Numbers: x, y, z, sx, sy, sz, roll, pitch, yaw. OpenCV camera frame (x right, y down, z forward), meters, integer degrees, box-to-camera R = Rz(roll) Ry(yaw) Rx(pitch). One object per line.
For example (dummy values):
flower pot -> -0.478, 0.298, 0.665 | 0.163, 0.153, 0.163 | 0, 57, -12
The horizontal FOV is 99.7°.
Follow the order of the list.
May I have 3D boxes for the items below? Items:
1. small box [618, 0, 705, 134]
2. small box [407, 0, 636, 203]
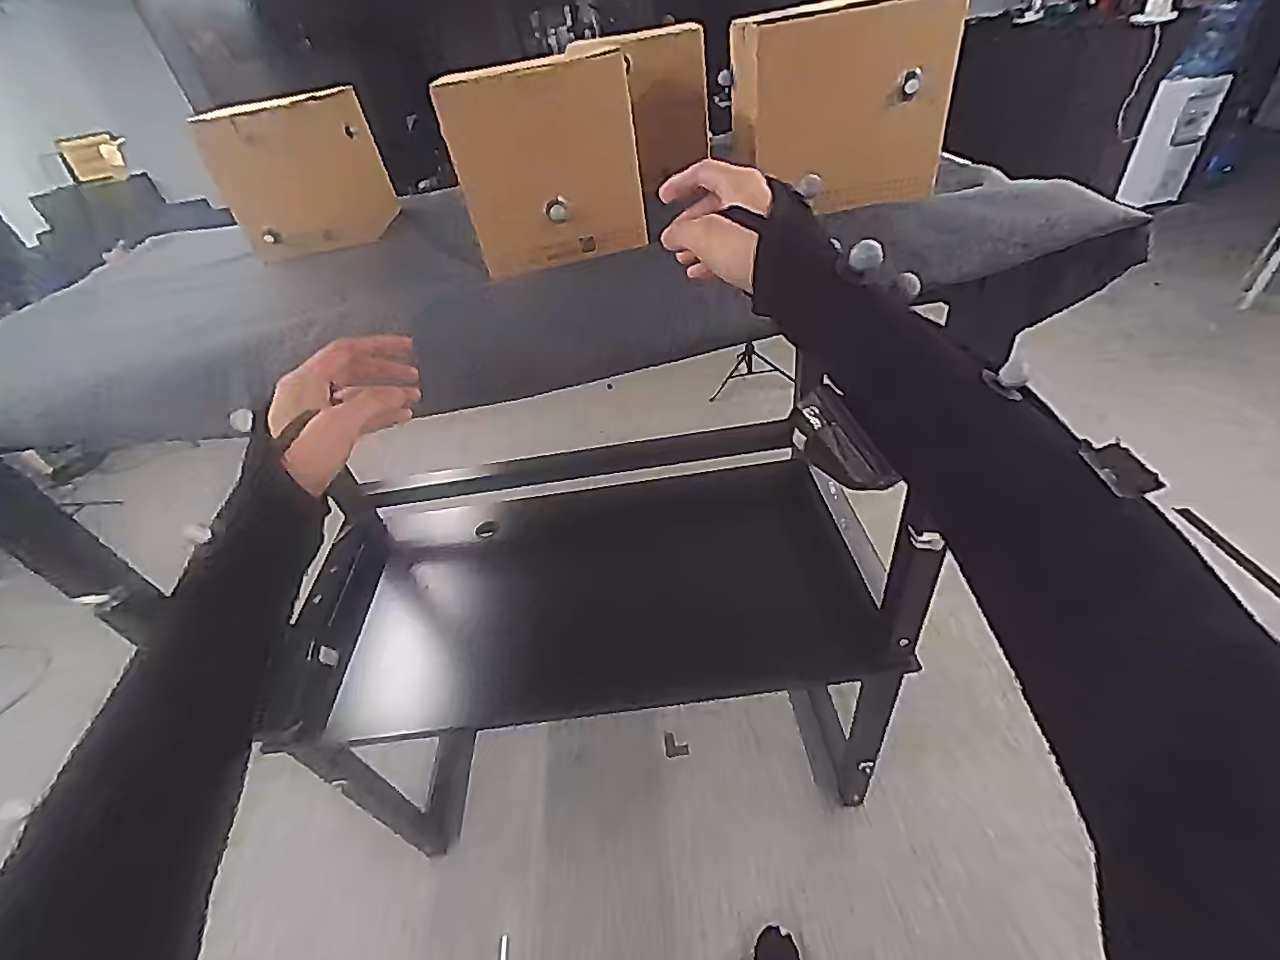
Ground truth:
small box -> -0.010, -0.560, 0.703 | 0.168, 0.176, 0.179 | -8, 41, 3
small box -> -0.105, -0.384, 0.522 | 0.168, 0.176, 0.179 | -12, 41, -2
